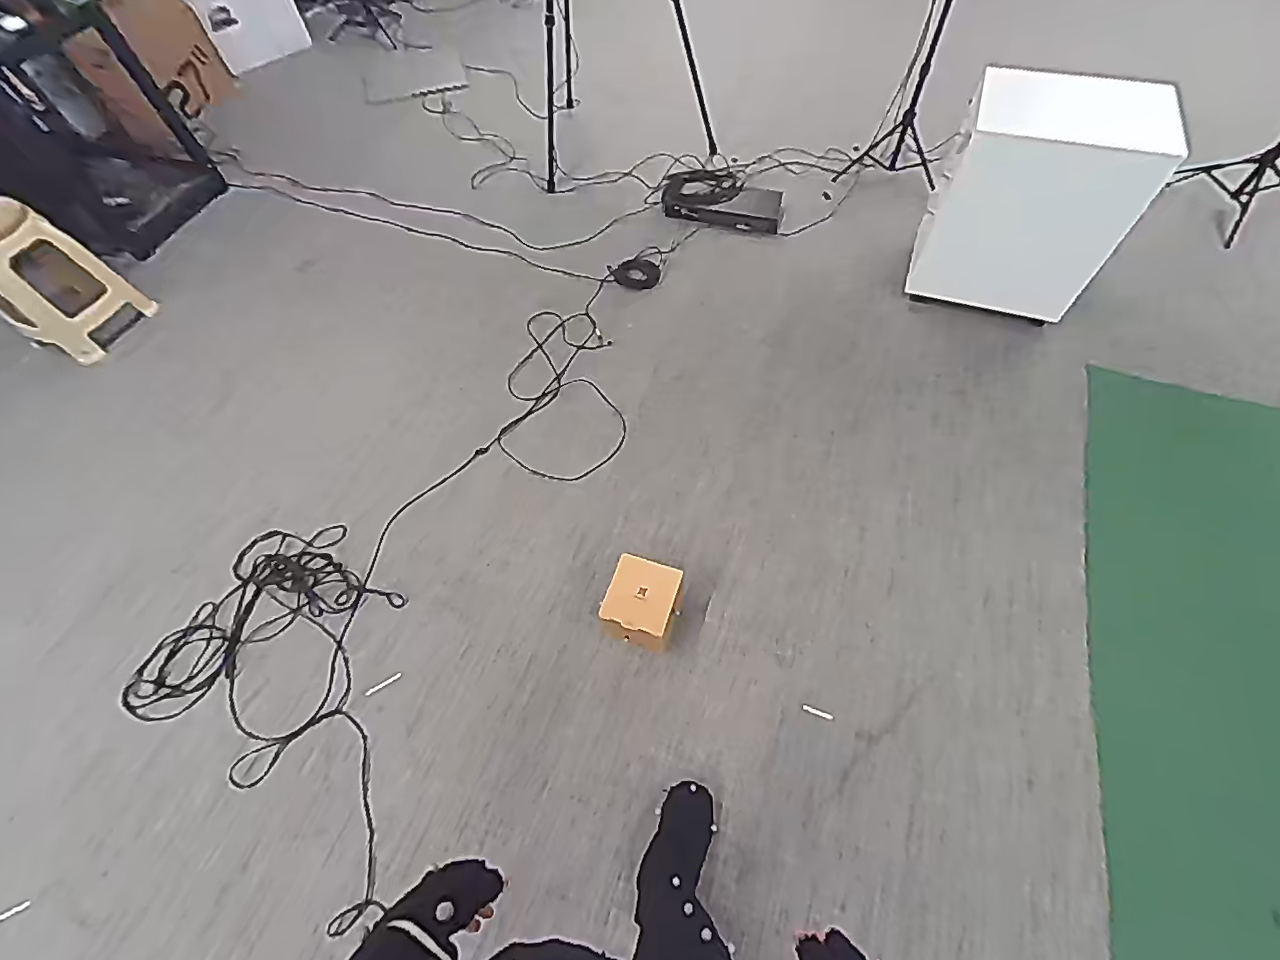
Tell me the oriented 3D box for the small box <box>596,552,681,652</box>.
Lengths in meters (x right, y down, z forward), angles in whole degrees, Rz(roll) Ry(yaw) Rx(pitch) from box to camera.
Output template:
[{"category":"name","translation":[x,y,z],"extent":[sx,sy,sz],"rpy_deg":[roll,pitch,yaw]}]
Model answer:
[{"category":"small box","translation":[0.001,0.316,1.389],"extent":[0.168,0.176,0.179],"rpy_deg":[15,61,13]}]
